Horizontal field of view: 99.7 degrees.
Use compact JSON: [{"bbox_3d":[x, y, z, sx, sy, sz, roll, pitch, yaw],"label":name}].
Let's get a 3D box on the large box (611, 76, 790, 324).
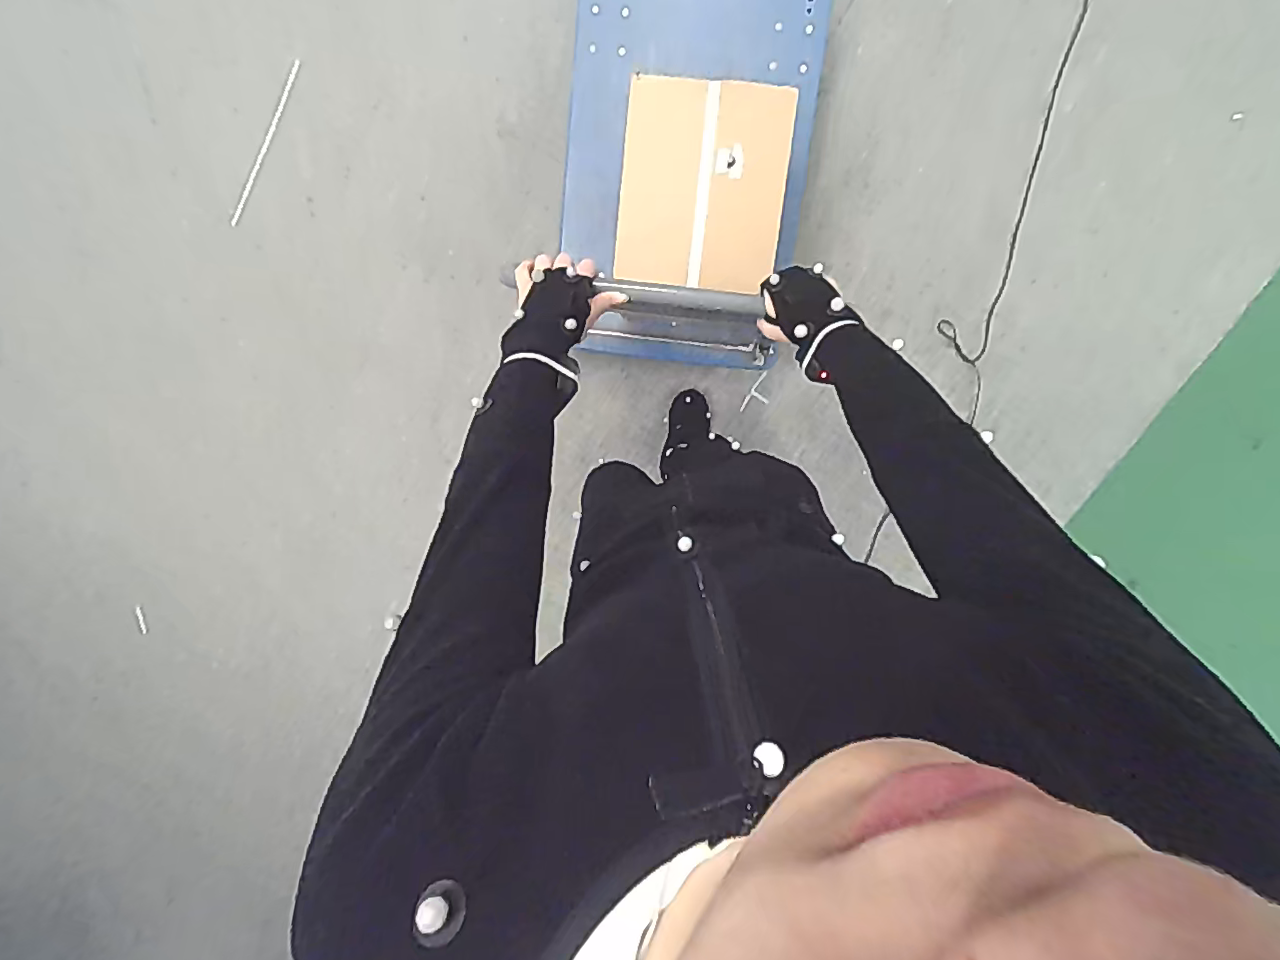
[{"bbox_3d":[0.120,-0.578,1.195,0.320,0.320,0.408,7,100,1],"label":"large box"}]
